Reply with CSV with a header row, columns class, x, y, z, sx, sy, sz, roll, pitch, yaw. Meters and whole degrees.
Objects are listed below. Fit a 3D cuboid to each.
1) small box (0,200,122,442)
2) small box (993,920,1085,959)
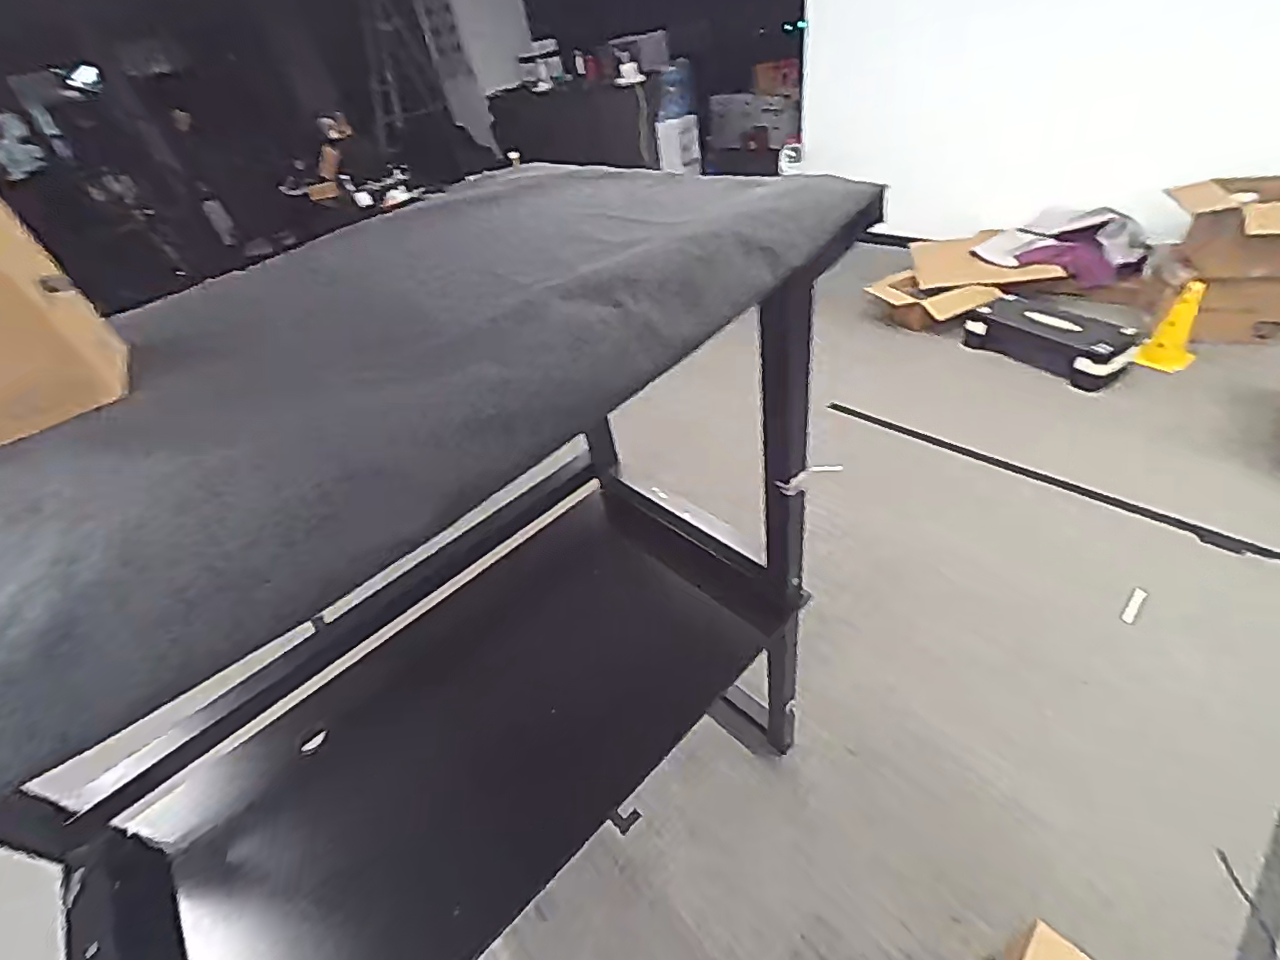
class,x,y,z,sx,sy,sz,roll,pitch,yaw
small box,-0.588,-0.127,0.450,0.179,0.176,0.168,-33,46,-22
small box,0.621,0.823,0.809,0.168,0.176,0.179,29,55,36
